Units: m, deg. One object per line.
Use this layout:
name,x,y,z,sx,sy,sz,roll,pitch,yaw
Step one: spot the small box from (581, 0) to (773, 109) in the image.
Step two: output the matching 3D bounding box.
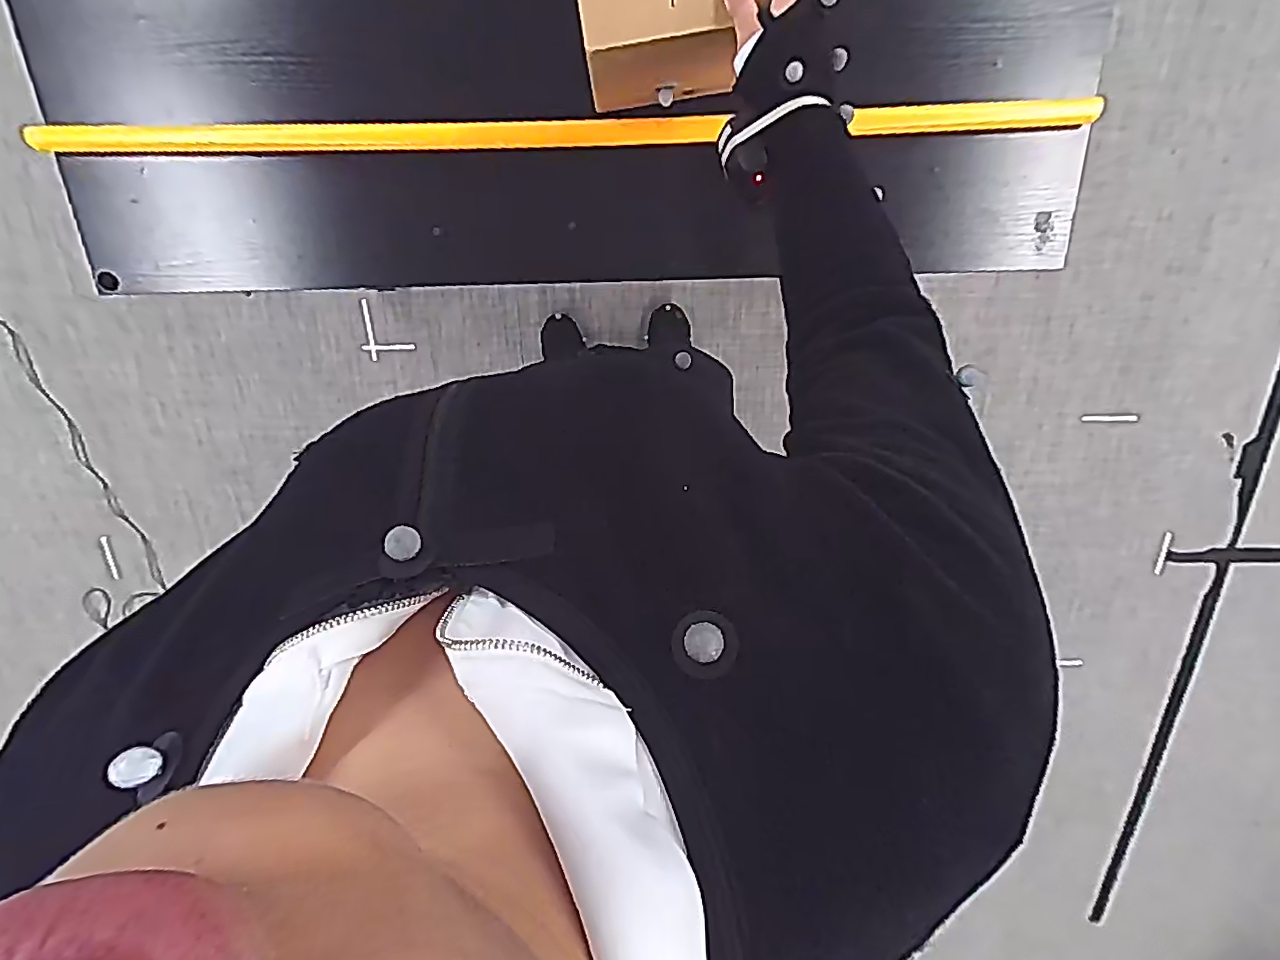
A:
small box,0.023,-0.492,0.517,0.168,0.176,0.179,-7,109,2
